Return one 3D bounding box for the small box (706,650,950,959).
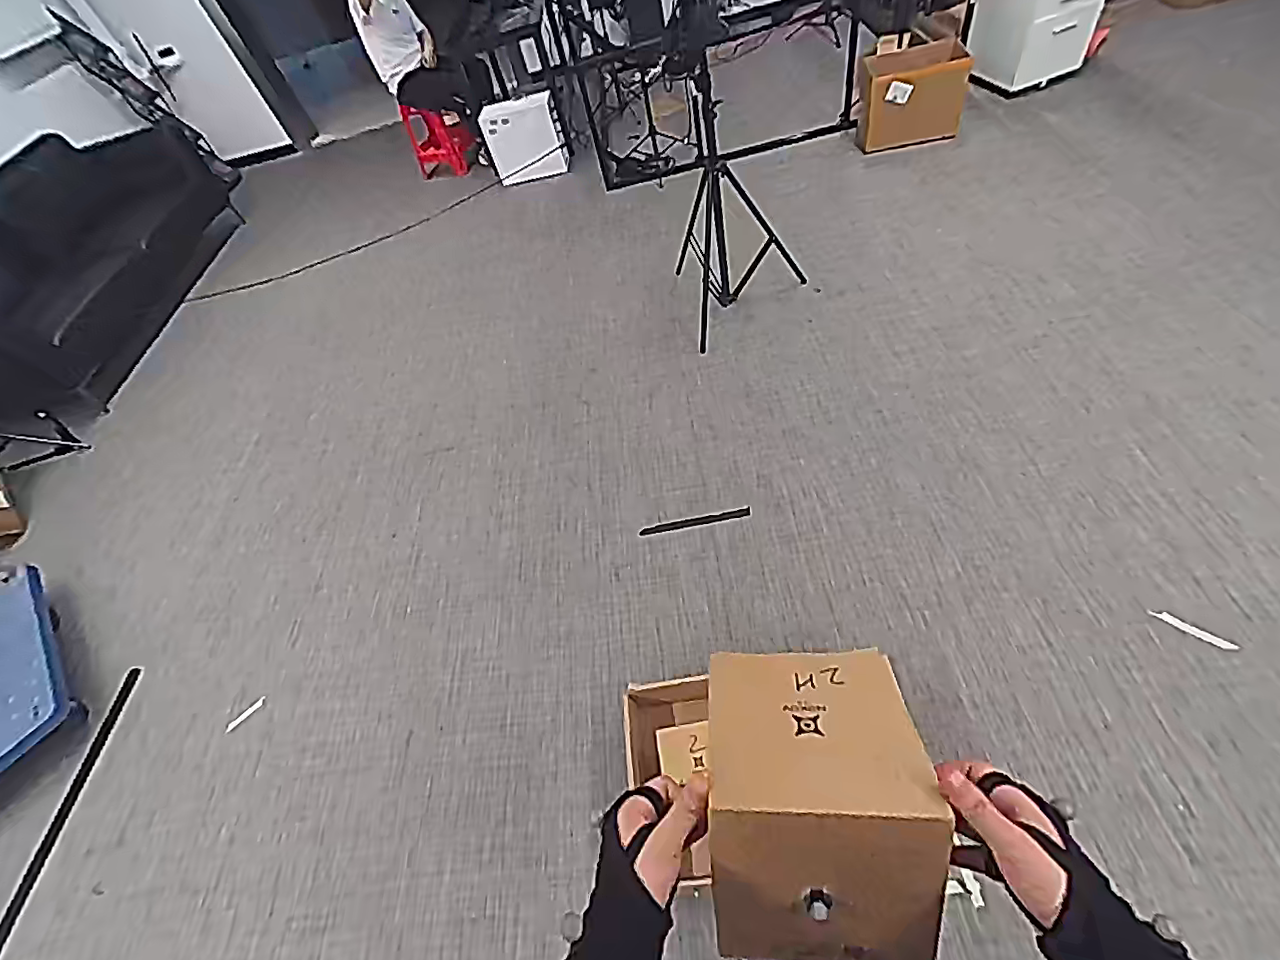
[{"bbox_3d":[0.146,0.274,0.474,0.168,0.176,0.179,-1,20,9],"label":"small box"}]
